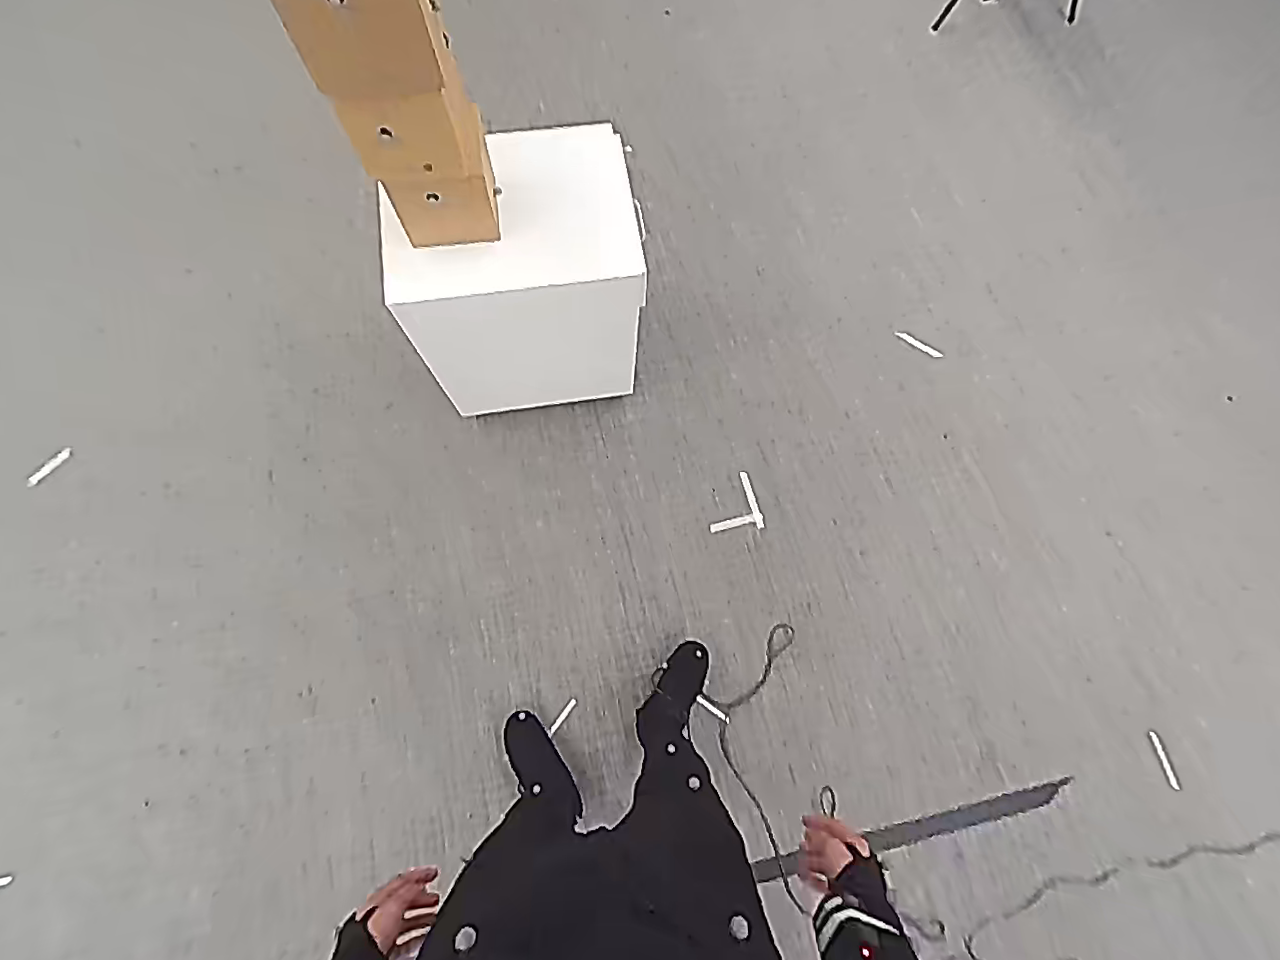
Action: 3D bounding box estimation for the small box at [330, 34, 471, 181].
[{"bbox_3d":[-0.377,-0.614,0.879,0.168,0.176,0.179,-6,74,-5],"label":"small box"}]

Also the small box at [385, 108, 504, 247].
[{"bbox_3d":[-0.369,-0.571,1.036,0.179,0.176,0.168,-7,74,-6],"label":"small box"}]

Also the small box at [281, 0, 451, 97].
[{"bbox_3d":[-0.367,-0.647,0.717,0.179,0.176,0.168,-8,75,-6],"label":"small box"}]
